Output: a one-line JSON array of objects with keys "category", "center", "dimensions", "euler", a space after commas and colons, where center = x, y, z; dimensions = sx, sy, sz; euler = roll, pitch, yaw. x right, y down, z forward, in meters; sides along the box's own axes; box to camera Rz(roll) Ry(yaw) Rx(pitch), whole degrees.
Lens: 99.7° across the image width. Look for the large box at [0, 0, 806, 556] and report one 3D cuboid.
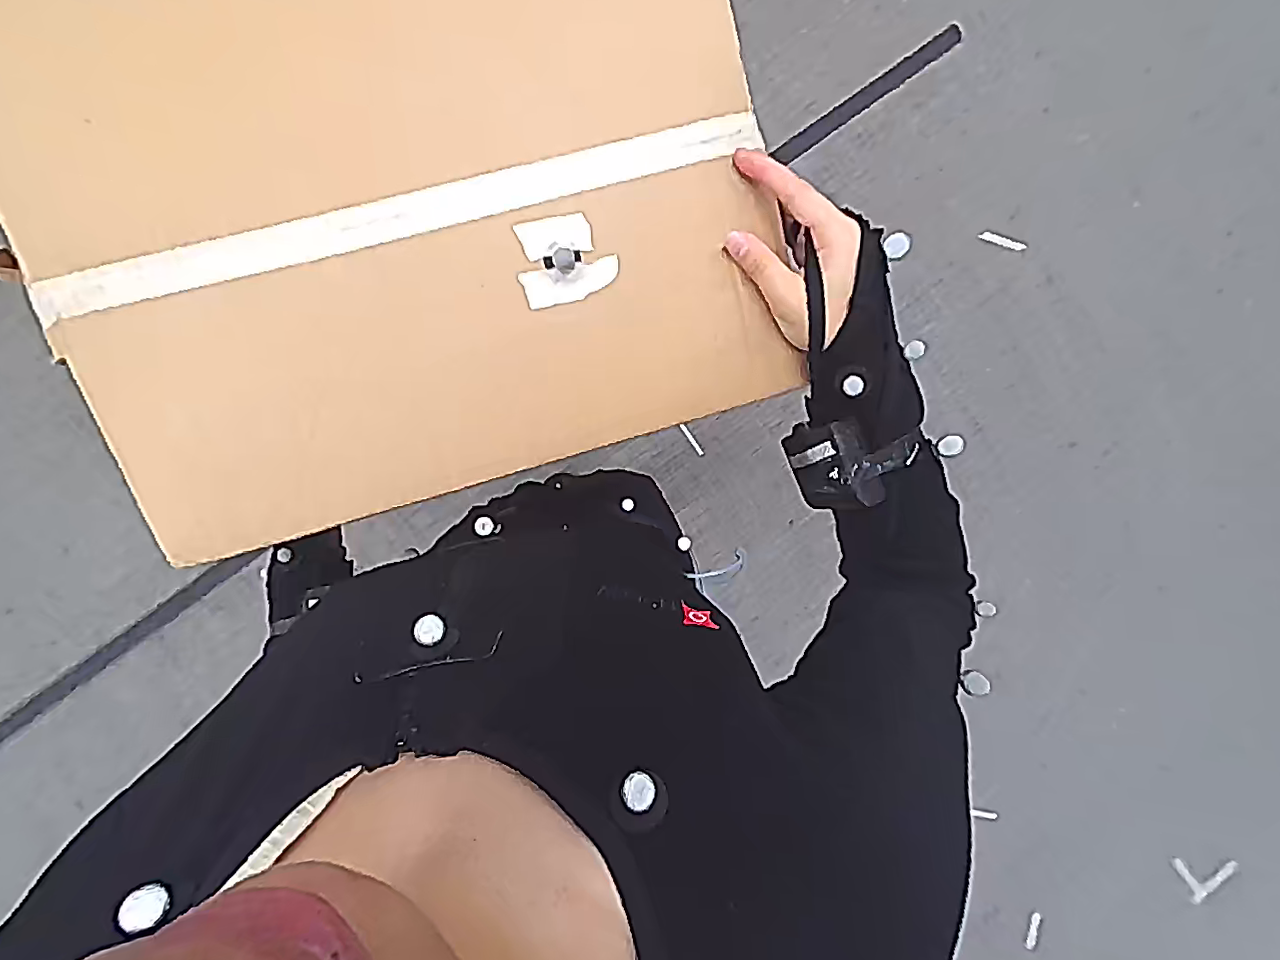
[{"category": "large box", "center": [-0.138, -0.173, 0.465], "dimensions": [0.408, 0.320, 0.320], "euler": [-17, 101, -7]}]
